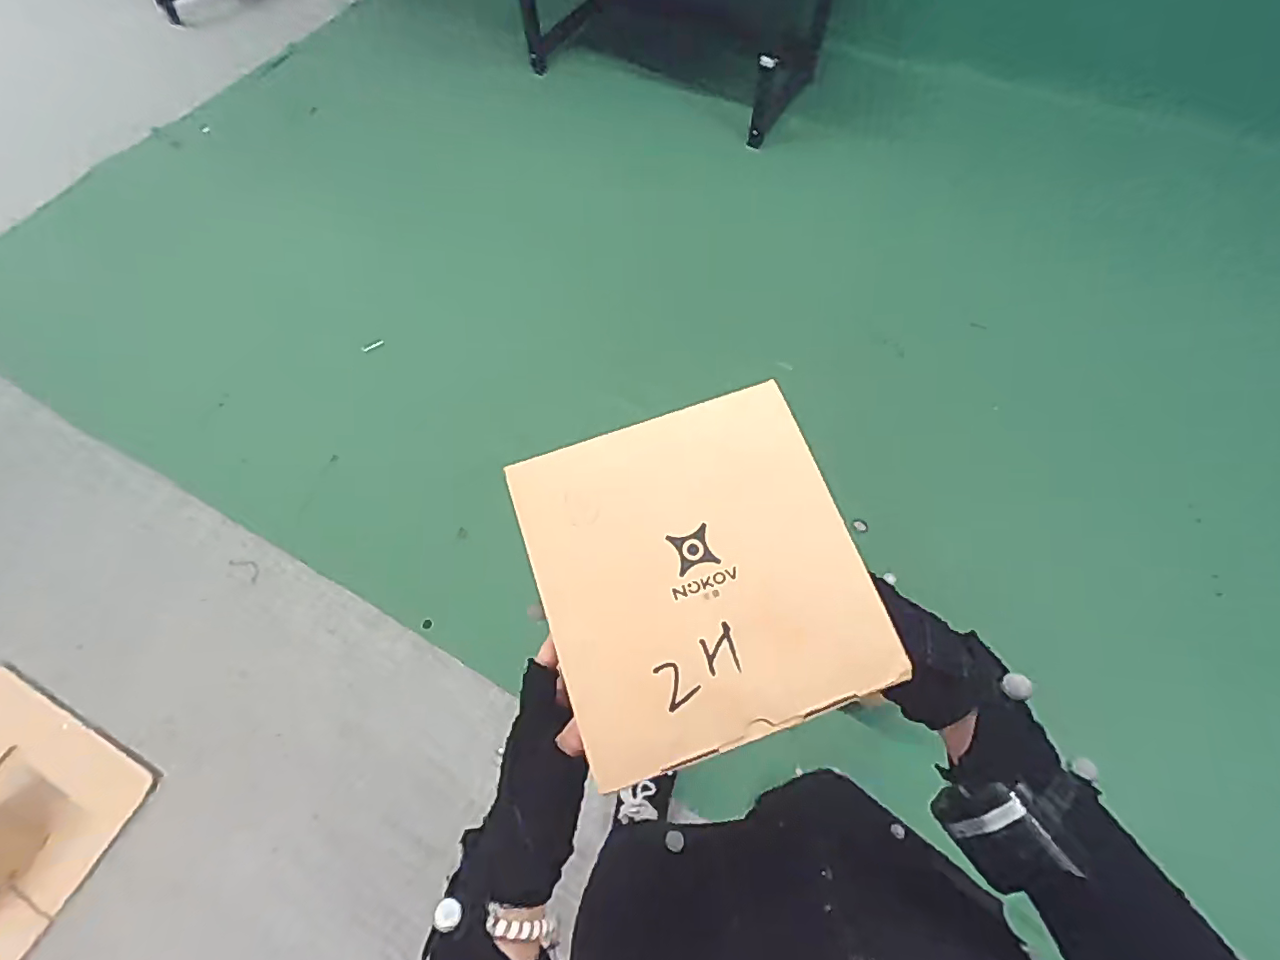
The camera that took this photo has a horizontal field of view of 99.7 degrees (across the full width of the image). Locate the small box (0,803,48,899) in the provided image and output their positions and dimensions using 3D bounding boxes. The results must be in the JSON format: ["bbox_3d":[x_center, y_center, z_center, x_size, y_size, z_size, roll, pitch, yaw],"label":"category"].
[{"bbox_3d":[-1.442,0.800,1.134,0.179,0.176,0.168,22,66,11],"label":"small box"}]

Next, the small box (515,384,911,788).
[{"bbox_3d":[0.032,0.068,0.361,0.168,0.176,0.179,-19,74,-5],"label":"small box"}]

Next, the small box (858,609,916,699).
[{"bbox_3d":[0.511,0.393,1.271,0.168,0.176,0.179,27,67,14],"label":"small box"}]
